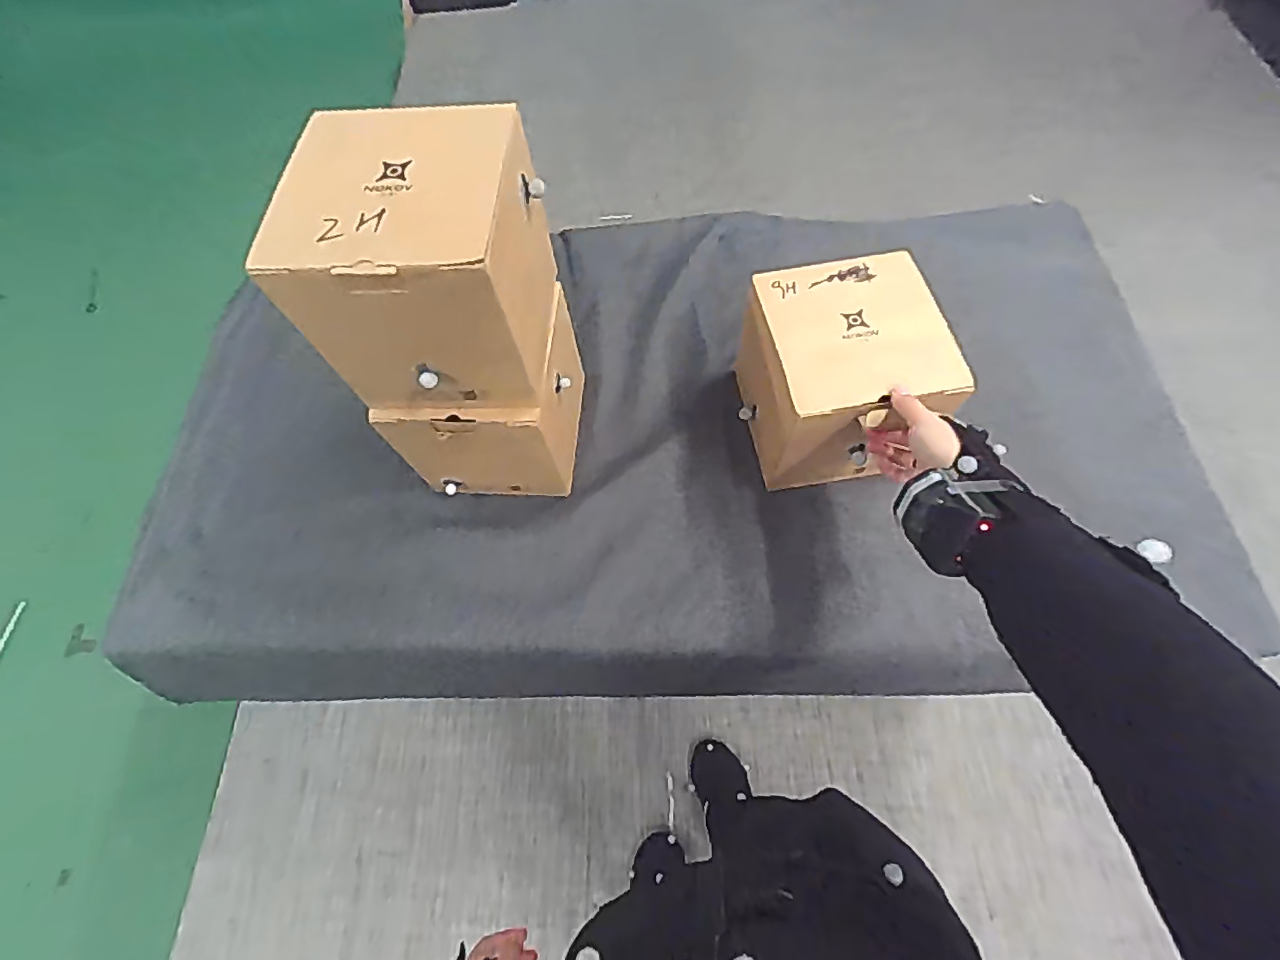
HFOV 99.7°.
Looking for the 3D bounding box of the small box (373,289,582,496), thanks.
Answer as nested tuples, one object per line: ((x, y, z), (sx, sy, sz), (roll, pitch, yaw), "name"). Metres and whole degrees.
((-0.164, -0.092, 0.612), (0.168, 0.176, 0.179), (2, 63, 4), "small box")

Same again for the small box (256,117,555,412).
((-0.175, -0.178, 0.472), (0.168, 0.176, 0.179), (0, 64, 4), "small box")

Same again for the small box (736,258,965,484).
((0.209, -0.107, 0.596), (0.168, 0.176, 0.179), (-9, 65, -1), "small box")
